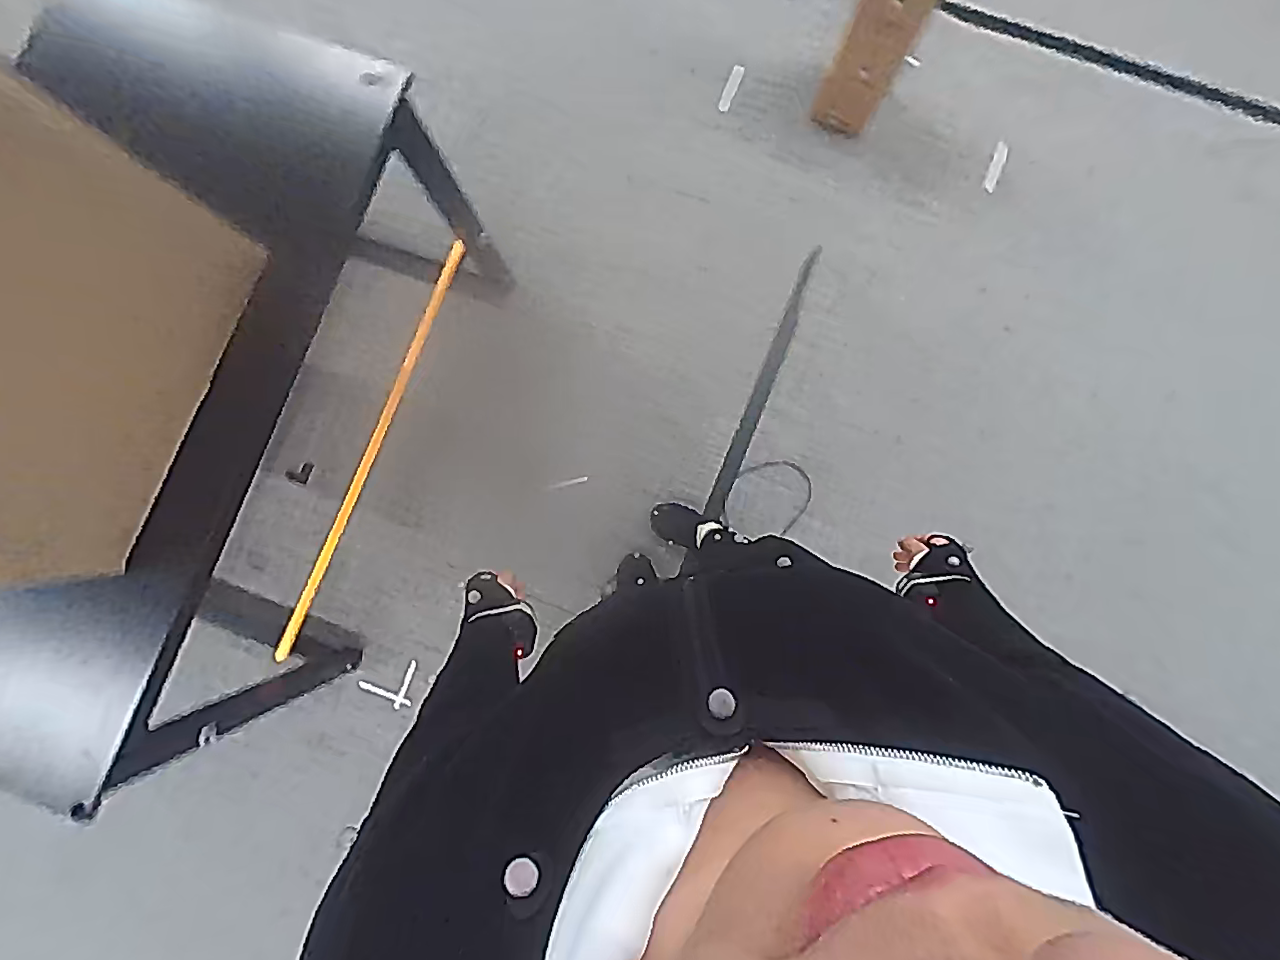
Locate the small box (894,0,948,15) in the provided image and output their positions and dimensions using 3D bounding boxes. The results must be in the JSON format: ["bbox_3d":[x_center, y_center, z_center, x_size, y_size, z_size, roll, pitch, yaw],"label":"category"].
[{"bbox_3d":[0.595,-1.106,1.092,0.168,0.176,0.179,21,87,3],"label":"small box"}]

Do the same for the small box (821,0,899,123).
[{"bbox_3d":[0.598,-1.097,1.421,0.168,0.176,0.179,20,88,3],"label":"small box"}]

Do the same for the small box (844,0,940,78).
[{"bbox_3d":[0.599,-1.097,1.256,0.168,0.176,0.179,21,87,3],"label":"small box"}]
